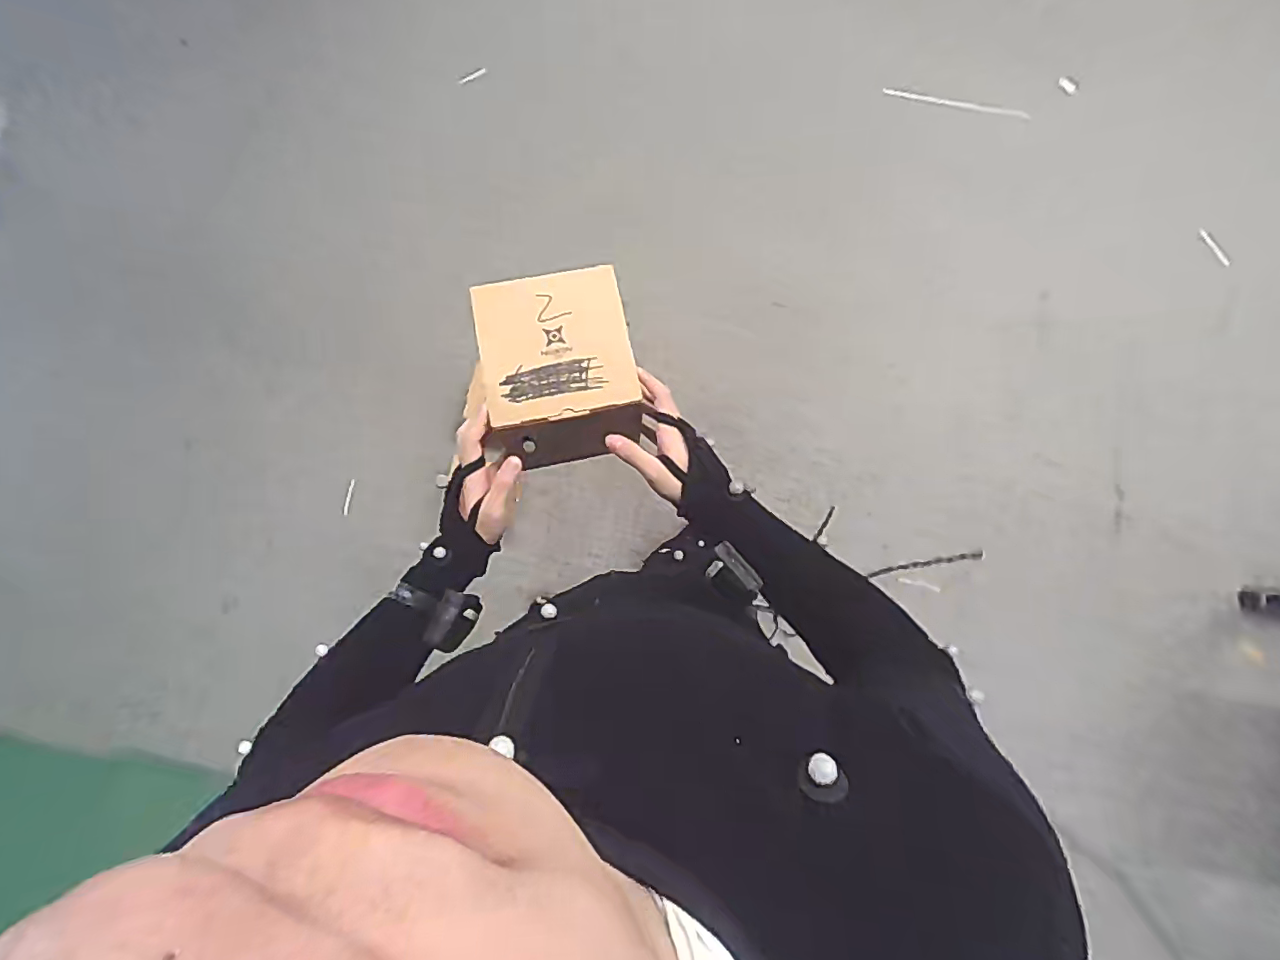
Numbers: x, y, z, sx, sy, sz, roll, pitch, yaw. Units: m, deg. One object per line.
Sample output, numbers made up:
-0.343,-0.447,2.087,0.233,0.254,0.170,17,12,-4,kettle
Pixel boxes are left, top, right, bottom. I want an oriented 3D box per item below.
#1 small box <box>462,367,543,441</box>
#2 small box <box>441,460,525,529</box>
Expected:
-0.397,-0.217,1.592,0.179,0.176,0.168,11,86,2,small box
-0.447,0.045,1.569,0.179,0.176,0.168,11,85,2,small box
